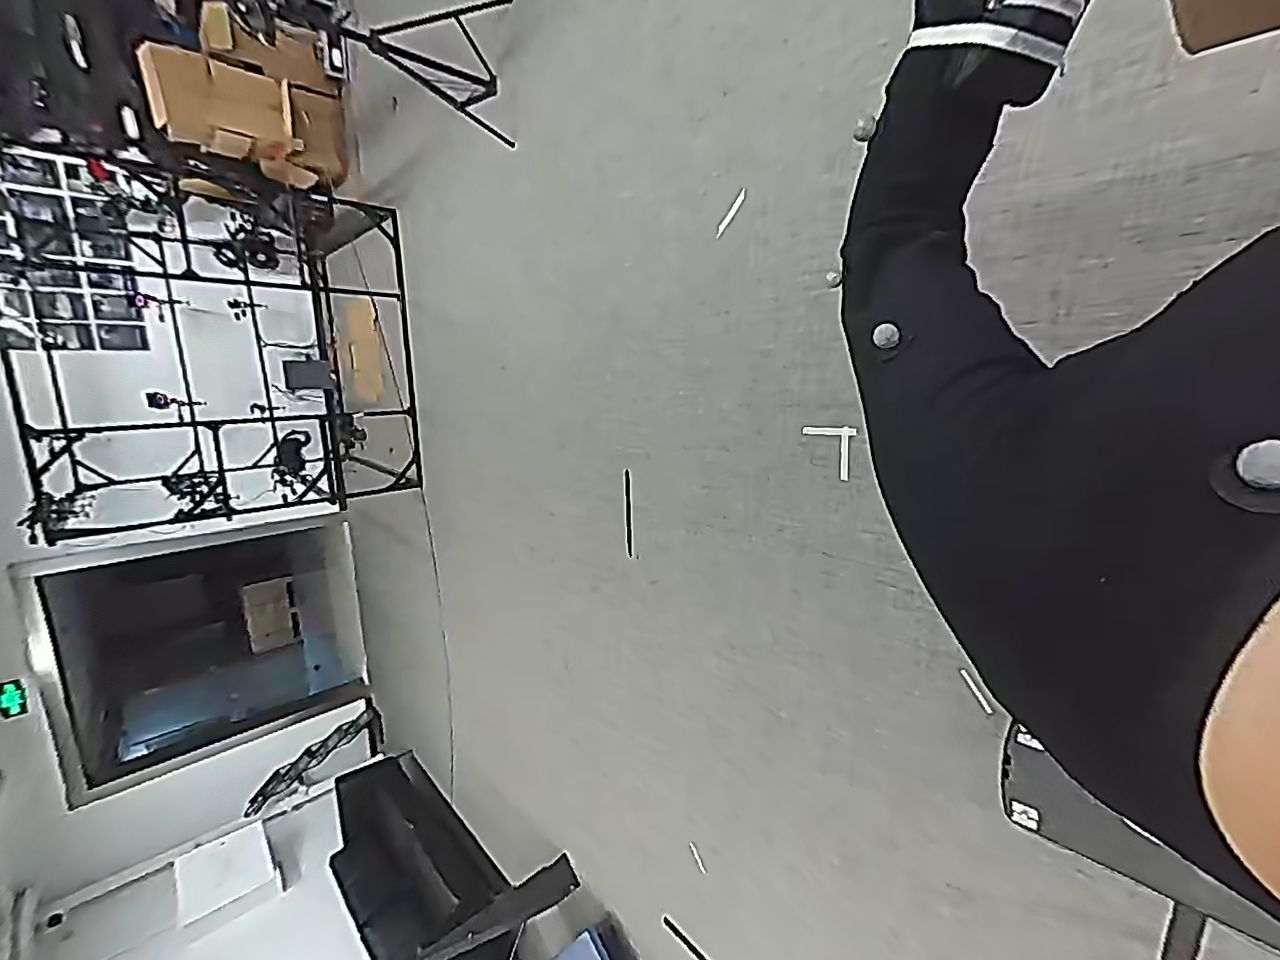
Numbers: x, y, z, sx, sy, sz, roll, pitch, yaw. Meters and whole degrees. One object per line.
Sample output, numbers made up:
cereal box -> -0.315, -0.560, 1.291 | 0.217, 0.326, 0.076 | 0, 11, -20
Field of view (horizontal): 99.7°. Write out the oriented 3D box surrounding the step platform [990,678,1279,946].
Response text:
step platform -> 1.094, 0.657, 1.061 | 0.684, 0.204, 0.286 | 8, 104, 49
